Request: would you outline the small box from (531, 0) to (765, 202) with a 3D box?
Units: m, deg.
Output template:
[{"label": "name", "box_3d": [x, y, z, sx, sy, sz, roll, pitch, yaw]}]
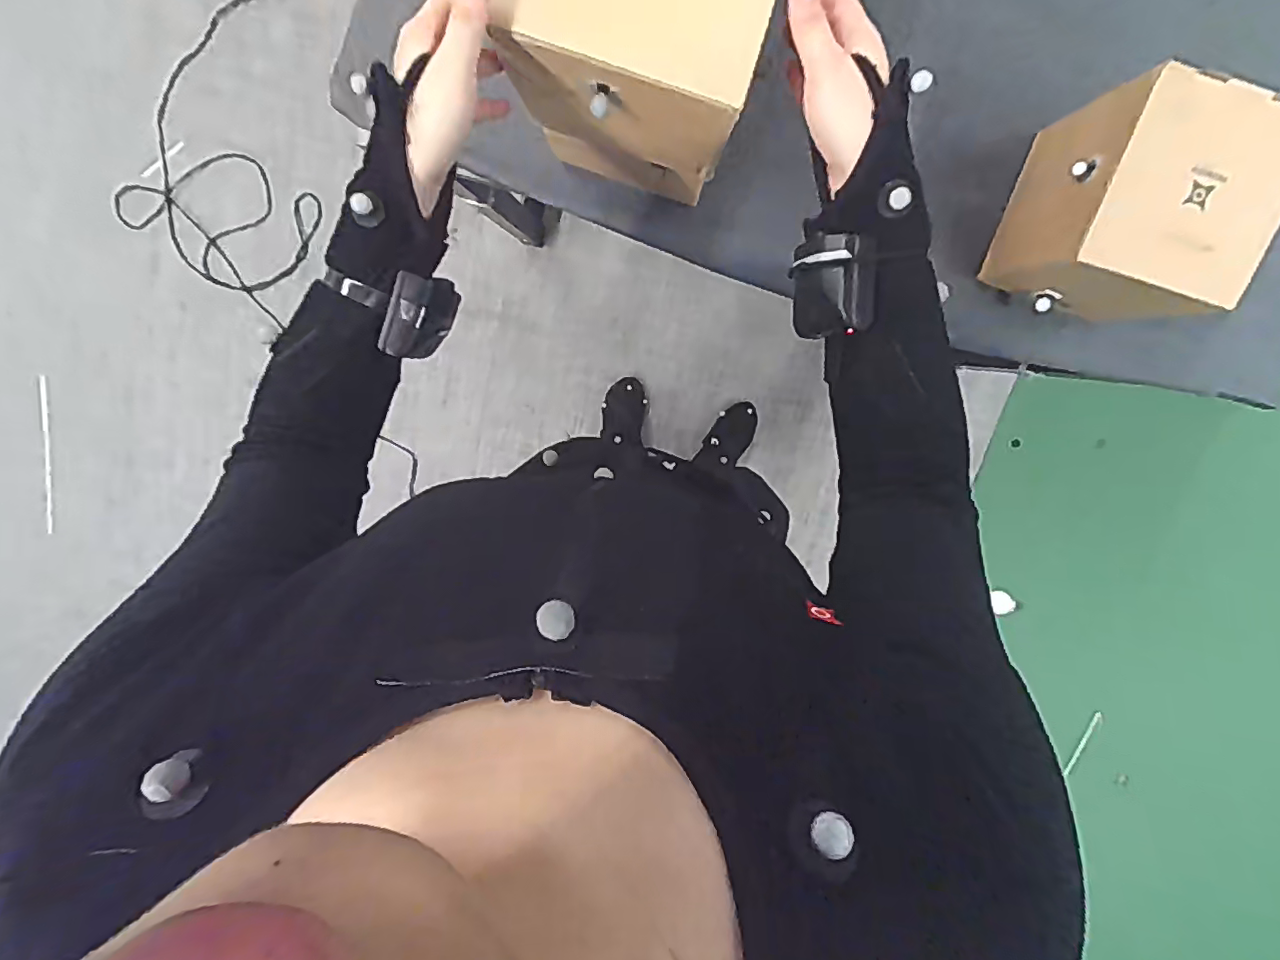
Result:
[{"label": "small box", "box_3d": [0.008, -0.408, 0.557, 0.179, 0.176, 0.168, 18, 104, -2]}]

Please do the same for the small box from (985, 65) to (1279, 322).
[{"label": "small box", "box_3d": [0.513, -0.279, 0.573, 0.168, 0.176, 0.179, 16, 103, -1]}]
